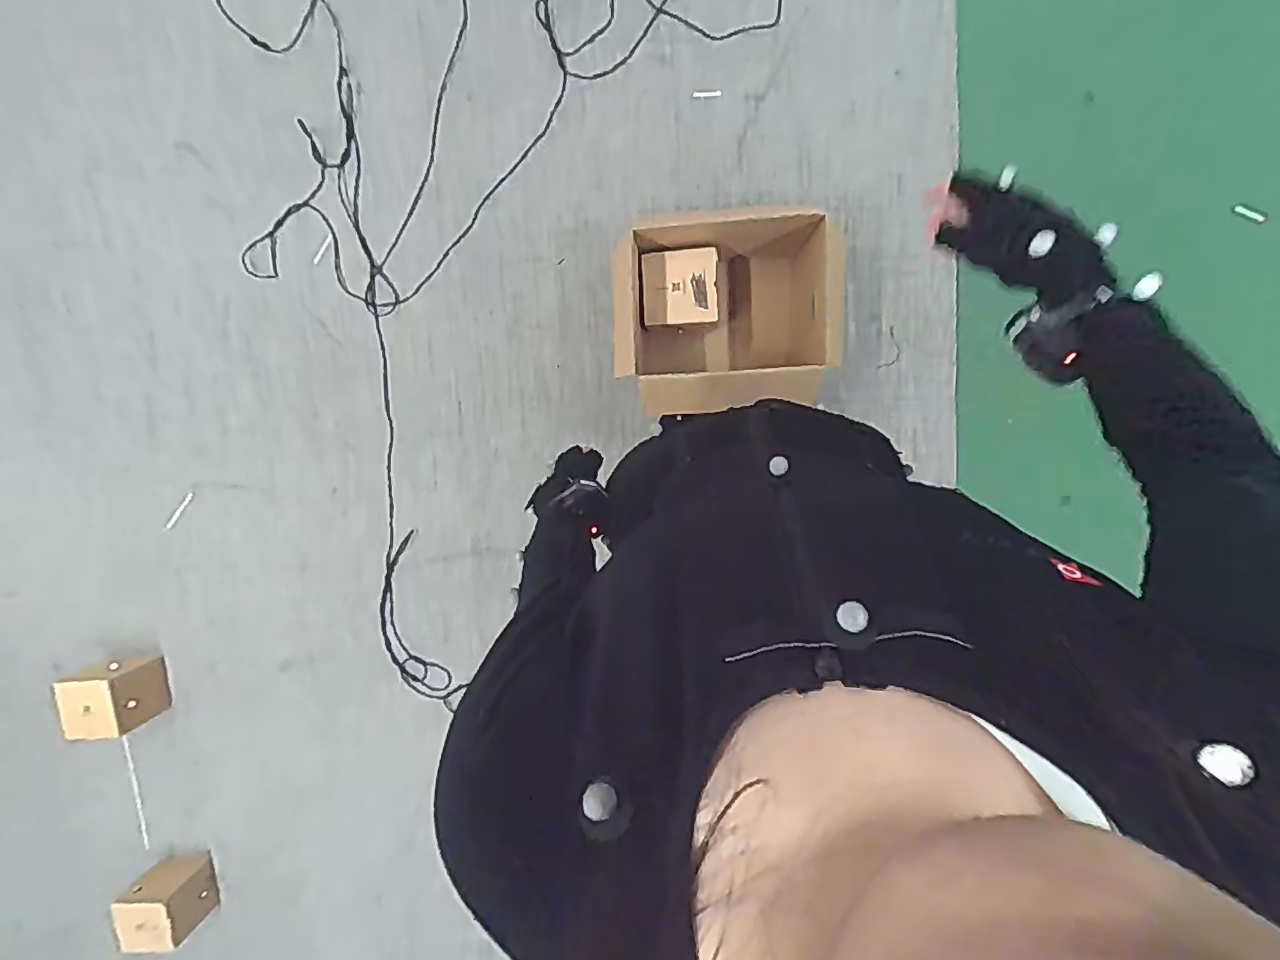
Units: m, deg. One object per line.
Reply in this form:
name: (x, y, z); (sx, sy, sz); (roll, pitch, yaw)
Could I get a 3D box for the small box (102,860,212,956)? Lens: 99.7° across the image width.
small box: (-1.472, 1.304, 1.656); (0.179, 0.176, 0.168); (-5, 97, 4)

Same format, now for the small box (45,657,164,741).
small box: (-1.545, 0.627, 1.571); (0.168, 0.176, 0.179); (-4, 98, 3)
